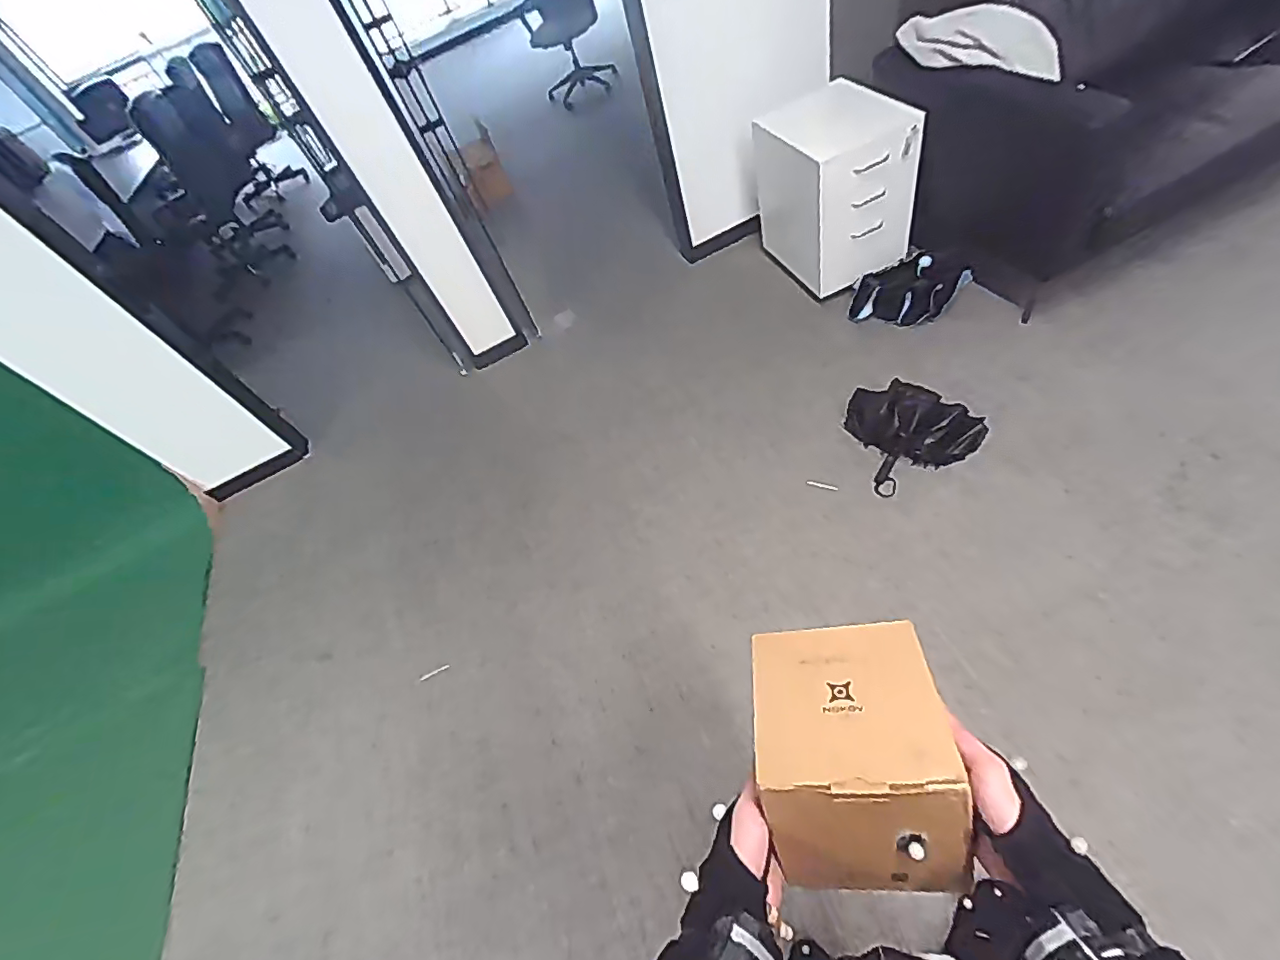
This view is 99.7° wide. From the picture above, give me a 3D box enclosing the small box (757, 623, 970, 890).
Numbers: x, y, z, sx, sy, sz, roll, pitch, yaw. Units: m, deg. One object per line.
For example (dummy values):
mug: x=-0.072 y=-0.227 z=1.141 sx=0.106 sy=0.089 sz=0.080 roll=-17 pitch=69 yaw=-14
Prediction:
small box: x=0.214 y=0.271 z=0.541 sx=0.168 sy=0.176 sz=0.179 roll=-9 pitch=26 yaw=15
